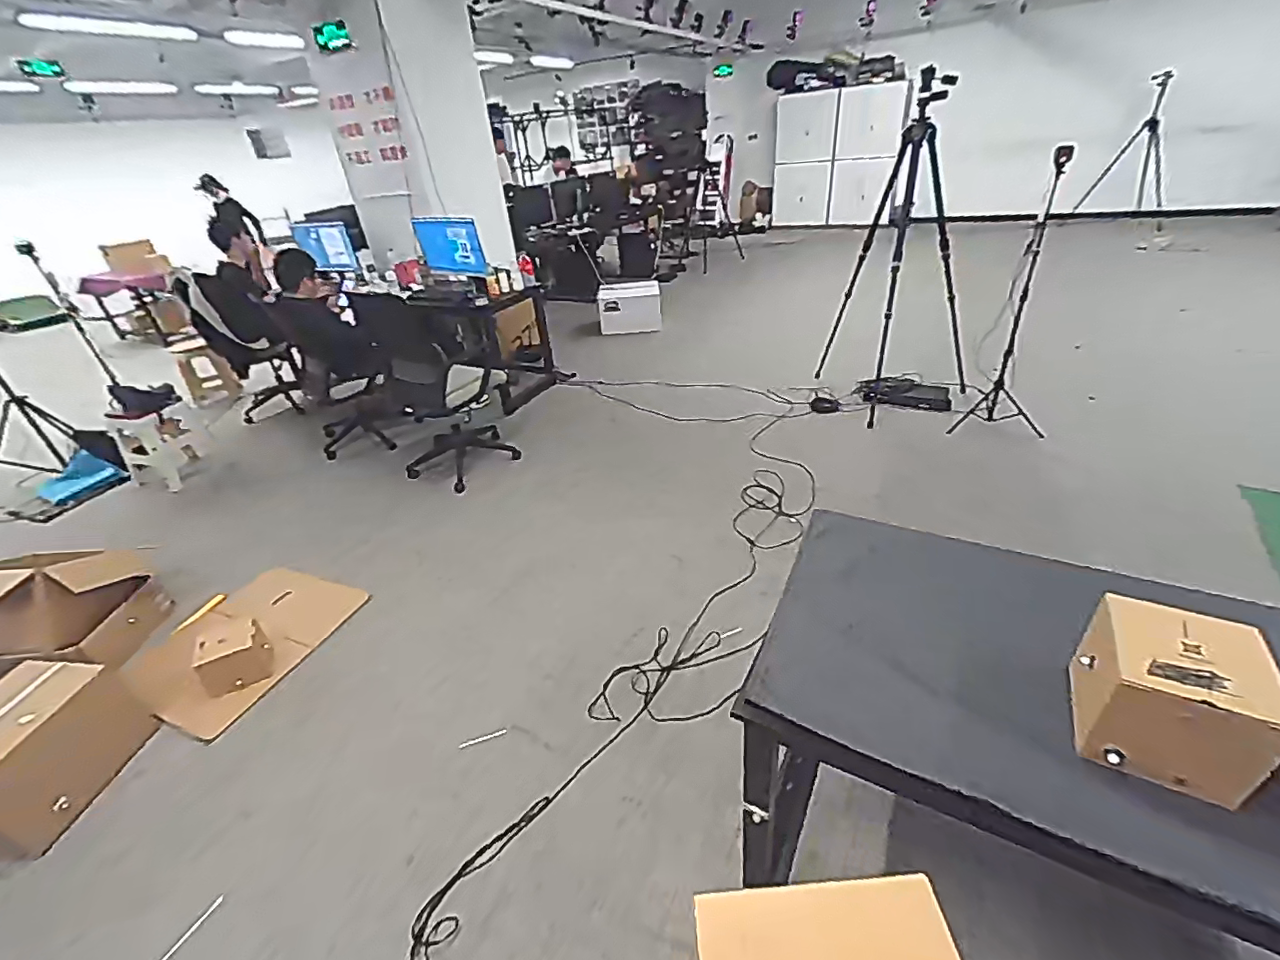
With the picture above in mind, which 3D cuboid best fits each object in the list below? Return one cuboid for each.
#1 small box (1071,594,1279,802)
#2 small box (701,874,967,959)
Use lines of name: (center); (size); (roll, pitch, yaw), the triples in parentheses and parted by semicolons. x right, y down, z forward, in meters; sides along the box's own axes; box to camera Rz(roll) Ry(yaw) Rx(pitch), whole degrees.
small box: (0.723, 0.295, 0.743); (0.168, 0.176, 0.179); (13, 36, 28)
small box: (0.130, 0.394, 0.351); (0.168, 0.176, 0.179); (-6, 36, 1)
